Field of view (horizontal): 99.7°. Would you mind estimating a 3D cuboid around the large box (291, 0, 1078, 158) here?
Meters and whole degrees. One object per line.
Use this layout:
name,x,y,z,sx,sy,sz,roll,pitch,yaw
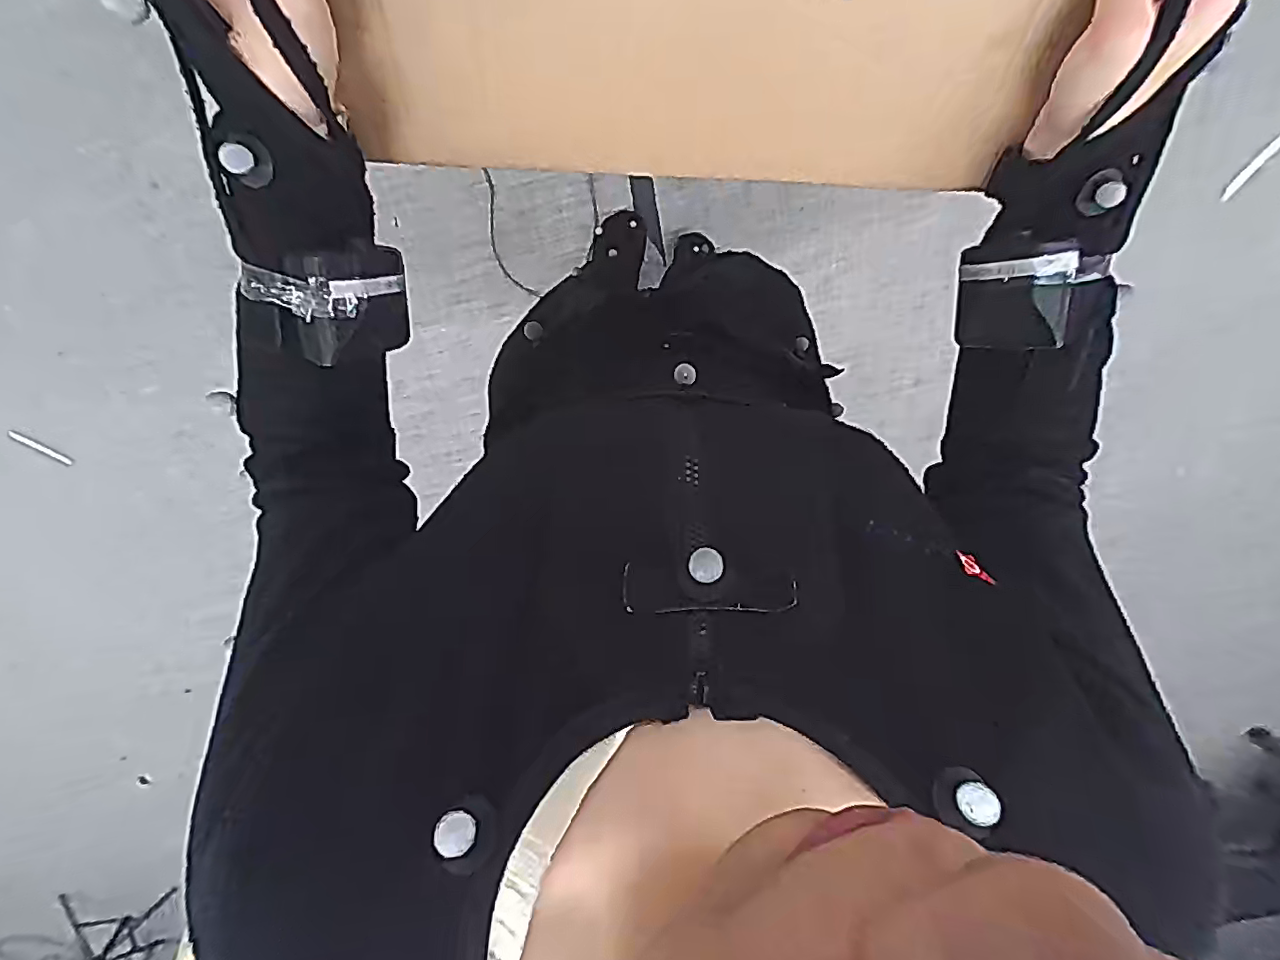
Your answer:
large box,0.022,-0.408,0.293,0.408,0.320,0.320,-1,145,-4
